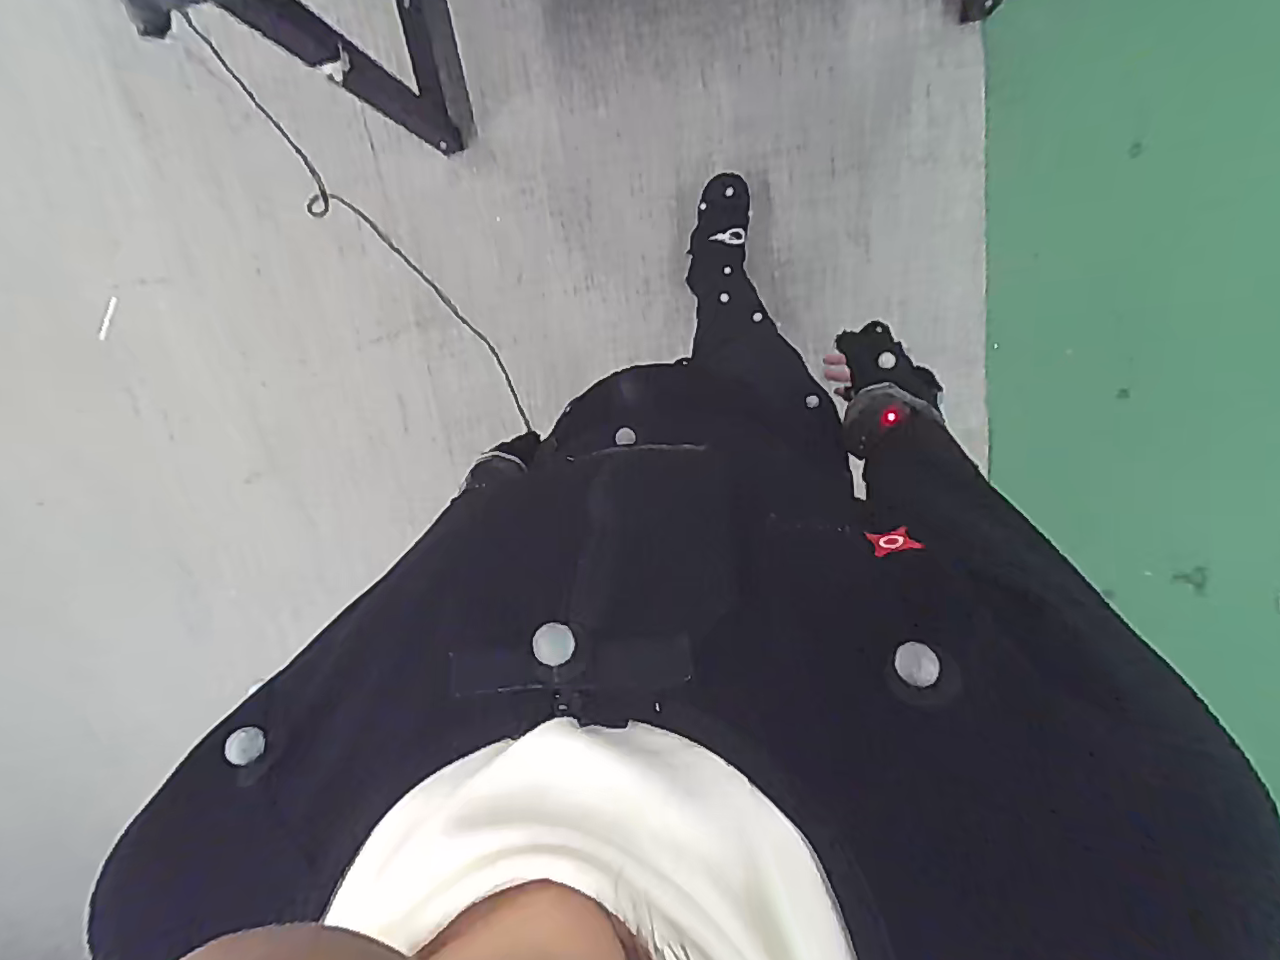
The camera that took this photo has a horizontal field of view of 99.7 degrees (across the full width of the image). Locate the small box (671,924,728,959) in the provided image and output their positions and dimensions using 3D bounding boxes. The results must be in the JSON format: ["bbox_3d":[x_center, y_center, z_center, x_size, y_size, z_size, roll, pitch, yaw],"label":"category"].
[{"bbox_3d":[0.198,1.593,1.764,0.179,0.176,0.168,-8,105,7],"label":"small box"}]
